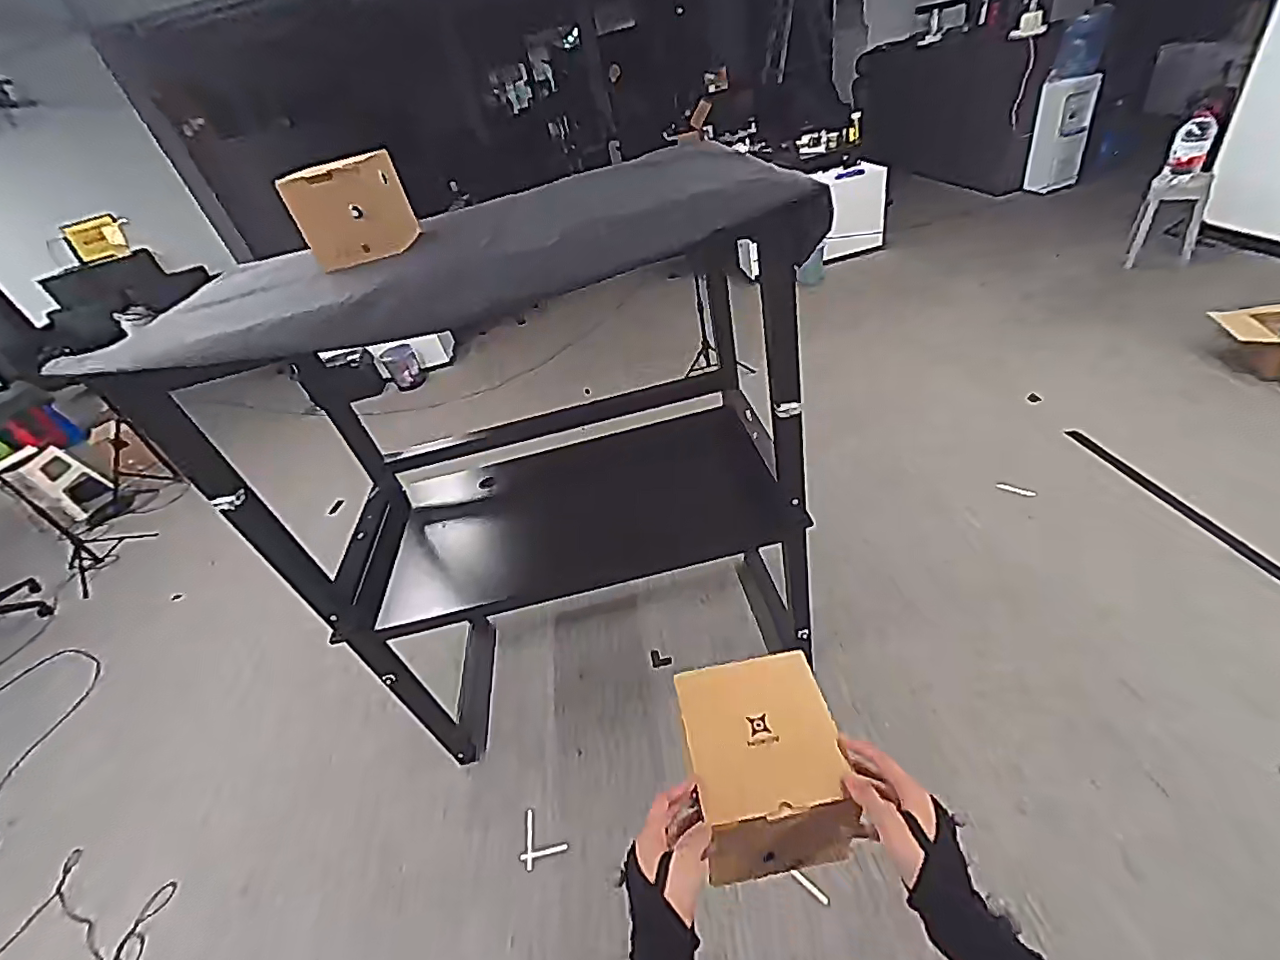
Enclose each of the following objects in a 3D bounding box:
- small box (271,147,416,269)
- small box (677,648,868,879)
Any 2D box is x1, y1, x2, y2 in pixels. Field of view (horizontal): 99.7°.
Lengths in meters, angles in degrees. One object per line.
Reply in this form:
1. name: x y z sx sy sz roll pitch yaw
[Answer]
1. small box: -0.573 -0.535 1.075 0.168 0.176 0.179 -12 39 3
2. small box: 0.143 0.335 0.646 0.168 0.176 0.179 -11 39 -3
